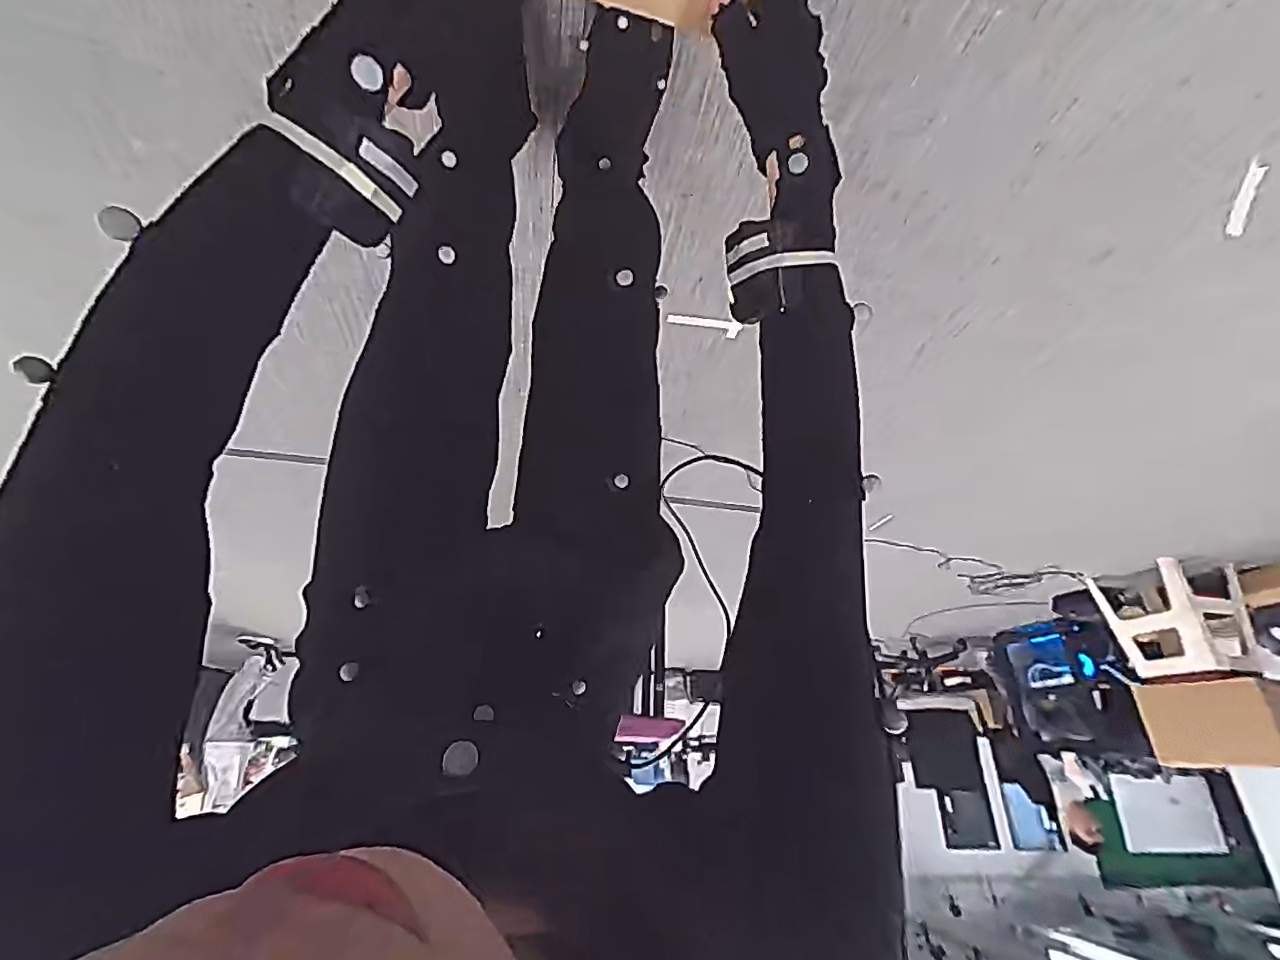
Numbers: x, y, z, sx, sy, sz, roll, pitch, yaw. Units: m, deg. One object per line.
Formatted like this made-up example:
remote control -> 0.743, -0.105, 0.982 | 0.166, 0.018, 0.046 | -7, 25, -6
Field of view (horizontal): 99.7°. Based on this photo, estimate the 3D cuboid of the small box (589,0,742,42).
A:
small box -> -0.002, -0.448, 0.360 | 0.179, 0.176, 0.168 | 2, 151, -17
